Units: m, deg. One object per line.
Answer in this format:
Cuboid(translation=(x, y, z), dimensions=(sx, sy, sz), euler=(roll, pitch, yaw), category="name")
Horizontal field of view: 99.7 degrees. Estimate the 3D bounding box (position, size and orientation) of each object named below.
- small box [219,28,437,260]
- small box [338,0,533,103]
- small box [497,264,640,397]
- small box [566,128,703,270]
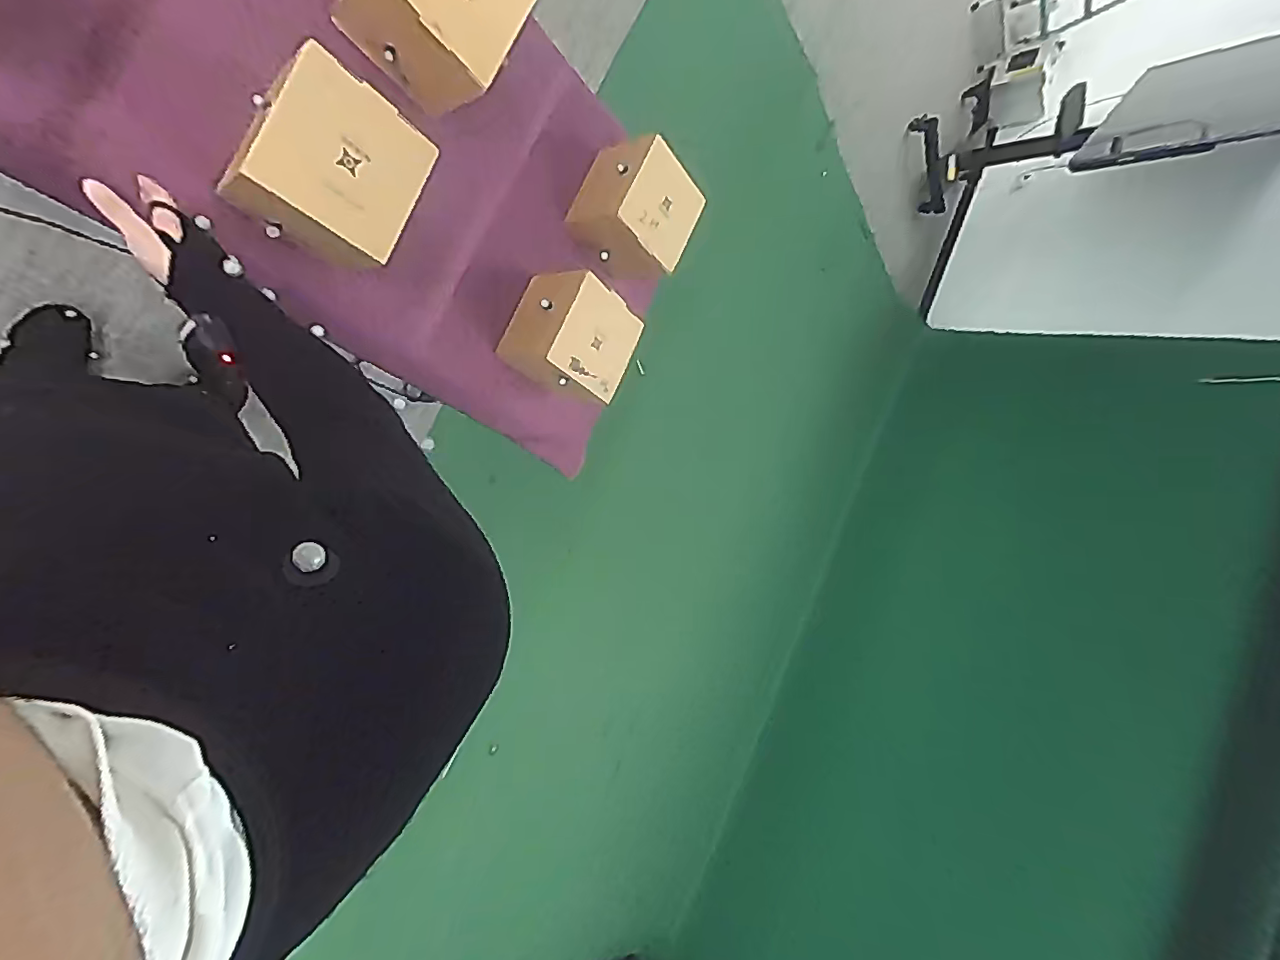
Cuboid(translation=(-0.400, -0.407, 0.691), dimensions=(0.168, 0.176, 0.179), euler=(29, 81, -47), category="small box")
Cuboid(translation=(-0.276, -0.663, 0.734), dimensions=(0.168, 0.176, 0.179), euler=(32, 82, -48), category="small box")
Cuboid(translation=(-0.136, -0.276, 1.012), dimensions=(0.168, 0.176, 0.179), euler=(32, 78, -46), category="small box")
Cuboid(translation=(-0.015, -0.532, 1.048), dimensions=(0.168, 0.176, 0.179), euler=(32, 81, -45), category="small box")
